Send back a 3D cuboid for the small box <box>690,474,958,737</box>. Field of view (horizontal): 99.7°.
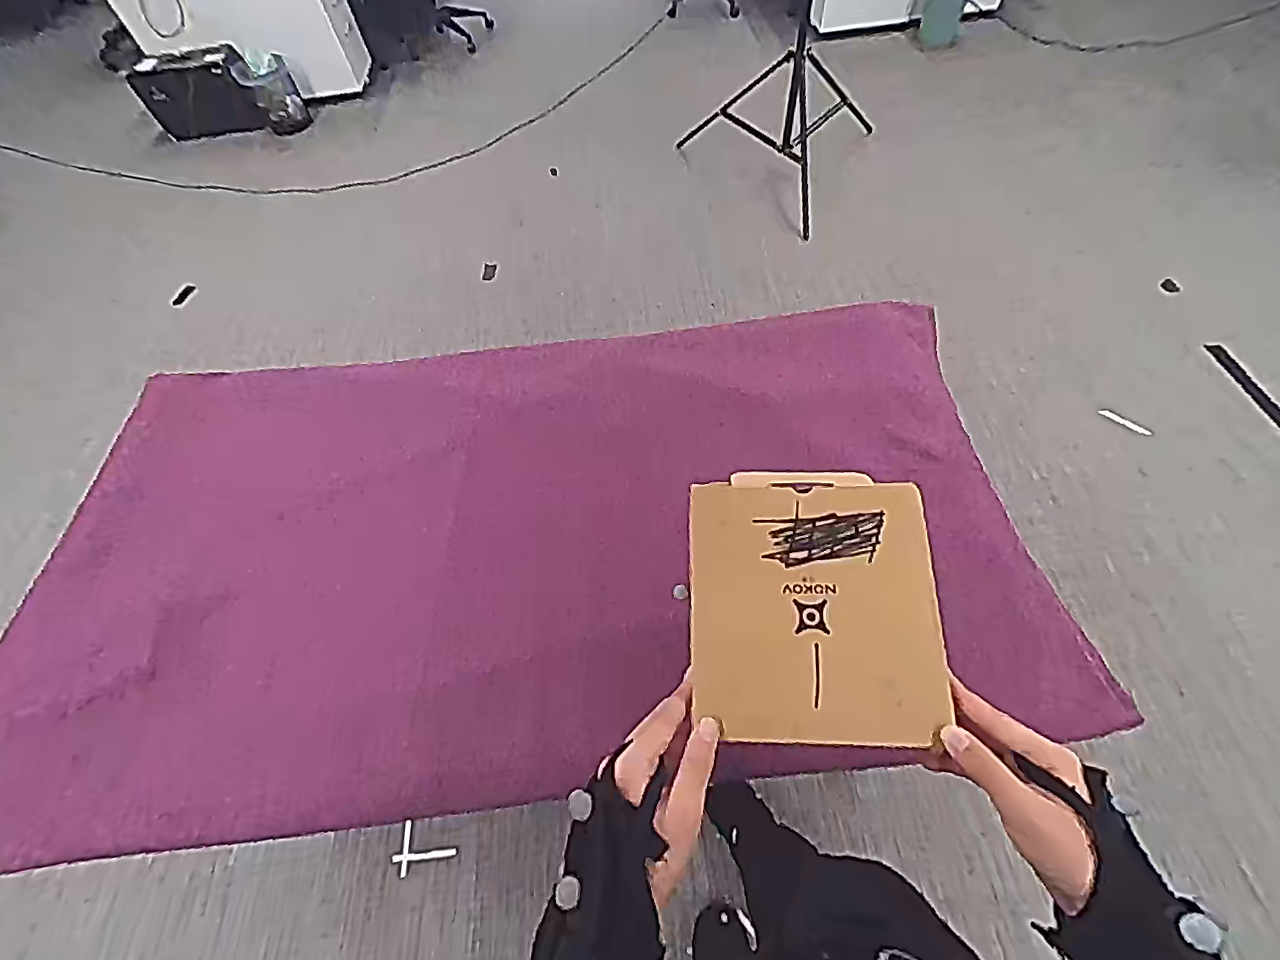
[{"bbox_3d":[0.125,0.105,0.445,0.168,0.176,0.179,0,70,5],"label":"small box"}]
